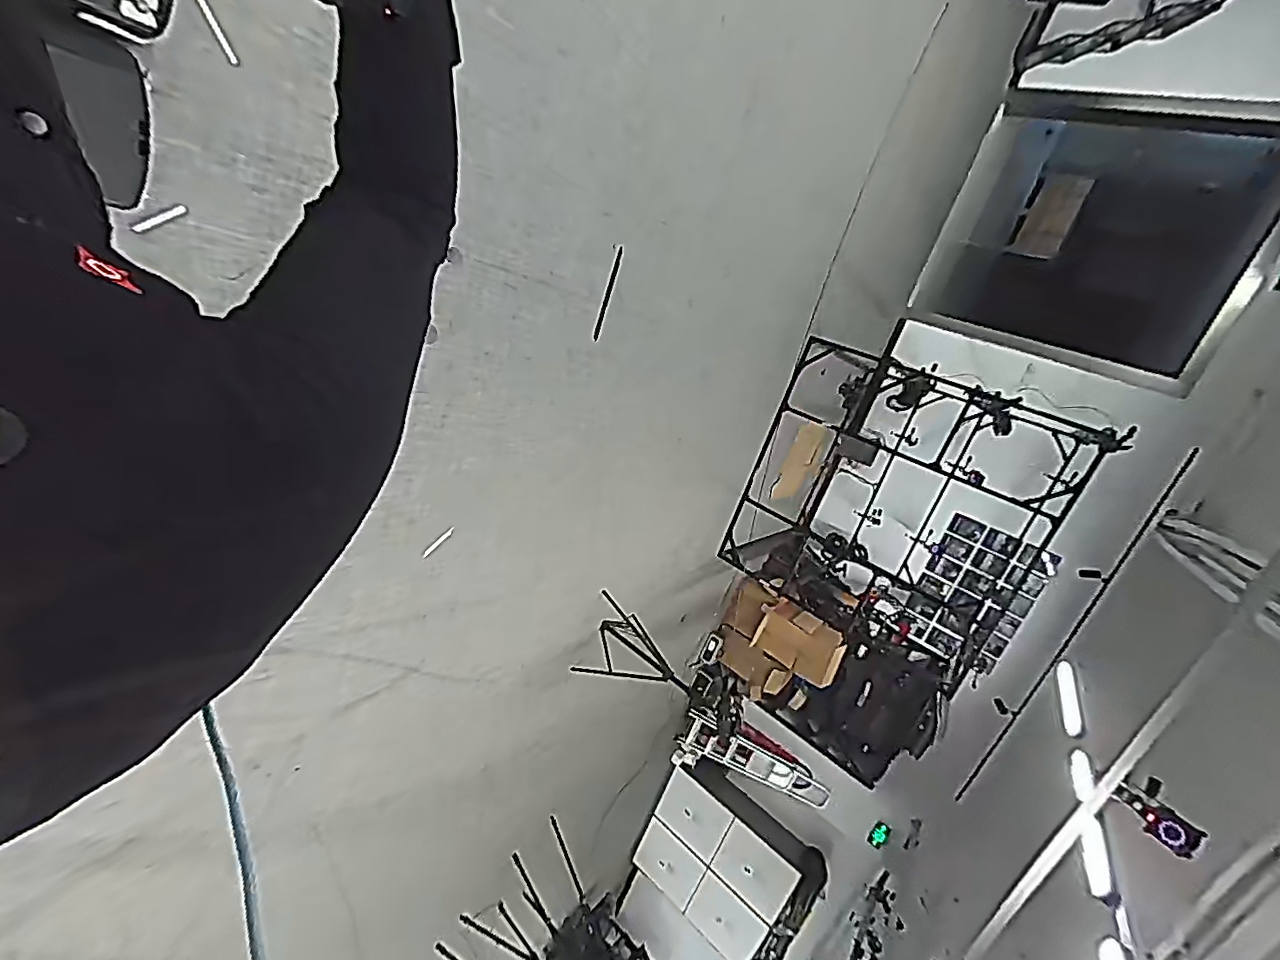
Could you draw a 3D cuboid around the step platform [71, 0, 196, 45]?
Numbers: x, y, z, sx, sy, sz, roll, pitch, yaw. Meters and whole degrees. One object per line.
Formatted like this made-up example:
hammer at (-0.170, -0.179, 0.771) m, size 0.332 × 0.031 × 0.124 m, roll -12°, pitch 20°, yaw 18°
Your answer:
step platform at (-1.003, -0.892, 0.693) m, size 0.684 × 0.204 × 0.286 m, roll -11°, pitch 124°, yaw -54°
